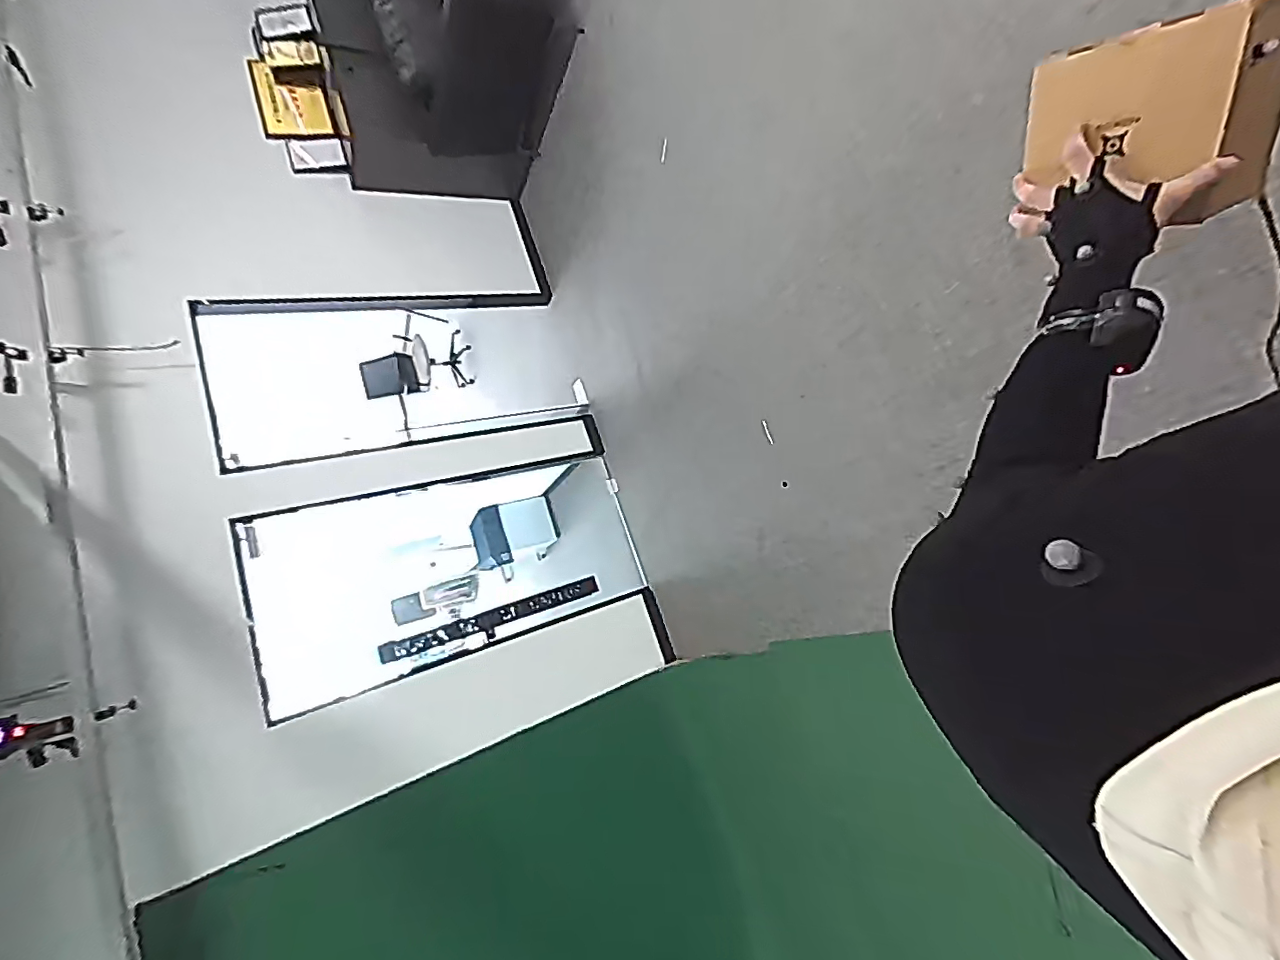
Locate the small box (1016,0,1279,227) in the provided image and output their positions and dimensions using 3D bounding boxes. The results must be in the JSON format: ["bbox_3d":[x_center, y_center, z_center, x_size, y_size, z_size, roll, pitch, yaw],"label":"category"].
[{"bbox_3d":[0.539,-0.383,0.573,0.168,0.176,0.179,27,134,53],"label":"small box"}]
